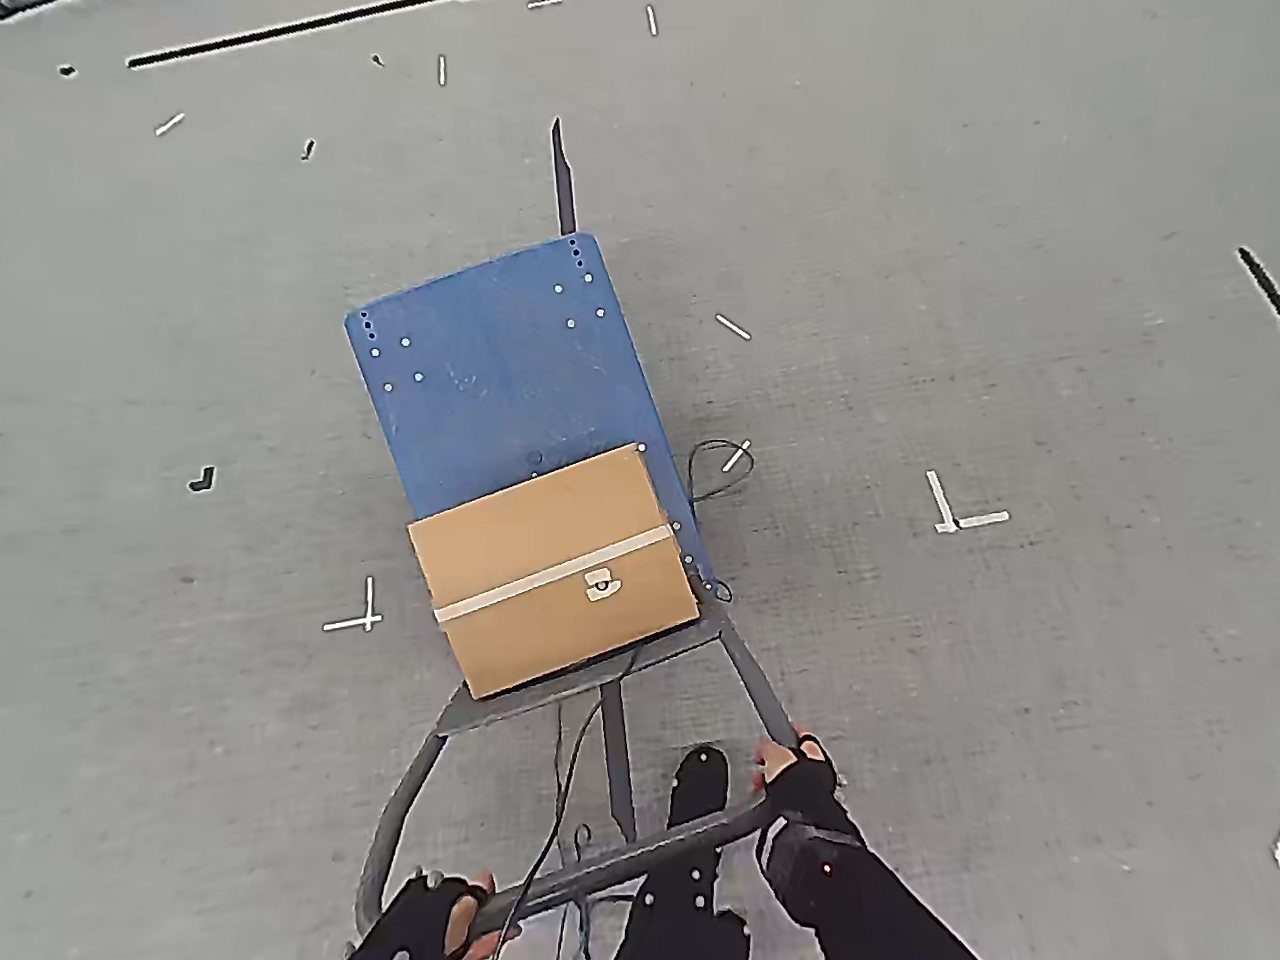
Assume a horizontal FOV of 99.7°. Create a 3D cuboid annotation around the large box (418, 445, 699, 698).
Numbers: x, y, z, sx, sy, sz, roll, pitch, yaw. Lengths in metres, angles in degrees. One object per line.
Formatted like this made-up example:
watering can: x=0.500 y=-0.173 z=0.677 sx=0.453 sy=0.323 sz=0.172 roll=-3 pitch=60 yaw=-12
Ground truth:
large box: x=-0.142 y=0.154 z=1.056 sx=0.408 sy=0.320 sz=0.320 roll=-21 pitch=92 yaw=-2
